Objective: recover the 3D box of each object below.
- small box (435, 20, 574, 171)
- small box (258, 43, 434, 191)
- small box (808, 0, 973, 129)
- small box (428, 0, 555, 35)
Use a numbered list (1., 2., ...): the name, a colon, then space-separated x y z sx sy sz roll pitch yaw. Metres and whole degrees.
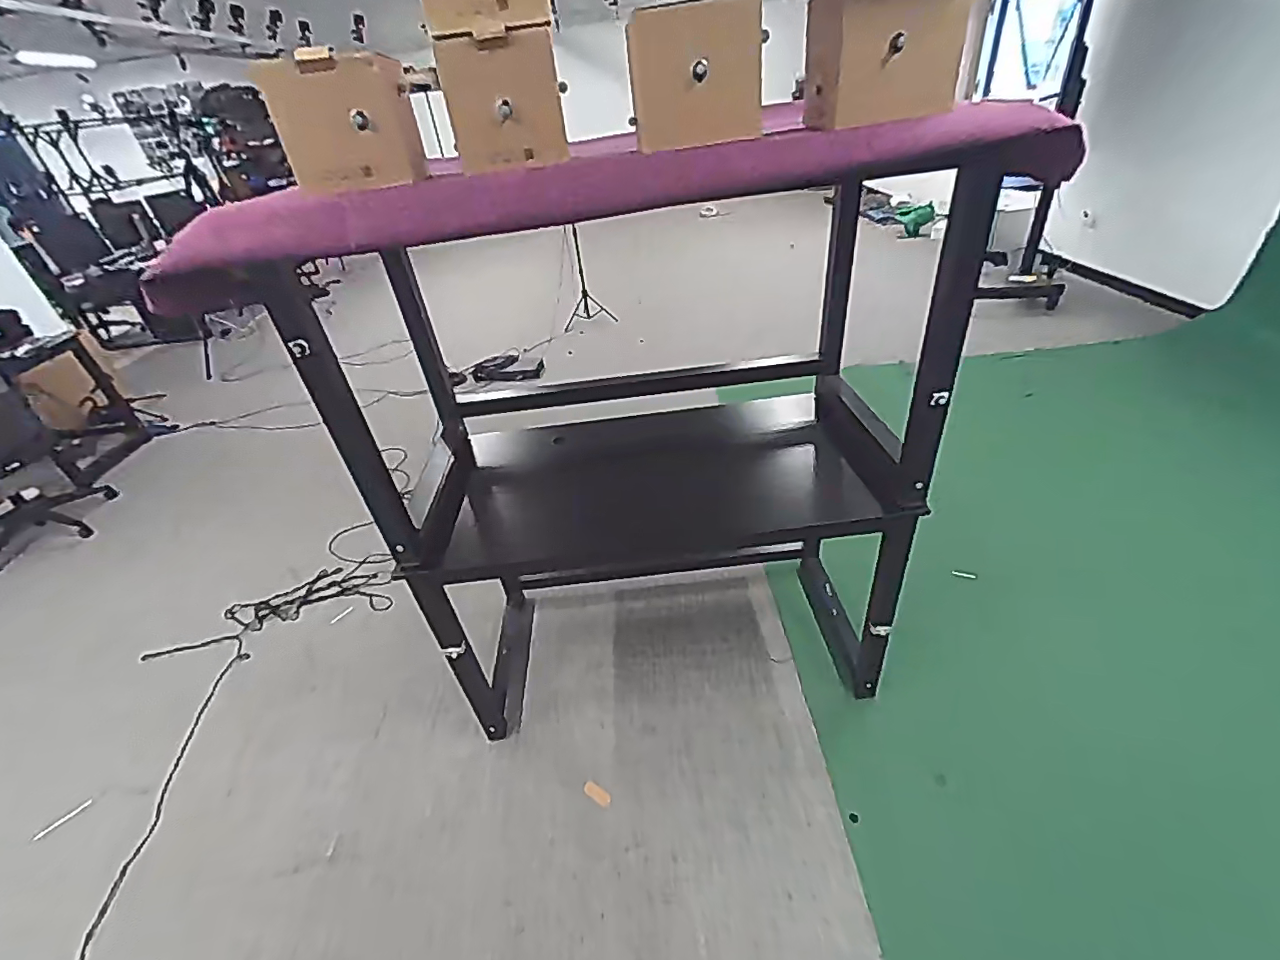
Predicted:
1. small box: -0.198 -0.591 0.845 0.168 0.176 0.179 -9 35 -2
2. small box: -0.436 -0.556 0.841 0.168 0.176 0.179 -9 34 -4
3. small box: 0.361 -0.640 0.806 0.179 0.176 0.168 -8 35 3
4. small box: -0.215 -0.722 0.749 0.168 0.176 0.179 -10 33 -3
